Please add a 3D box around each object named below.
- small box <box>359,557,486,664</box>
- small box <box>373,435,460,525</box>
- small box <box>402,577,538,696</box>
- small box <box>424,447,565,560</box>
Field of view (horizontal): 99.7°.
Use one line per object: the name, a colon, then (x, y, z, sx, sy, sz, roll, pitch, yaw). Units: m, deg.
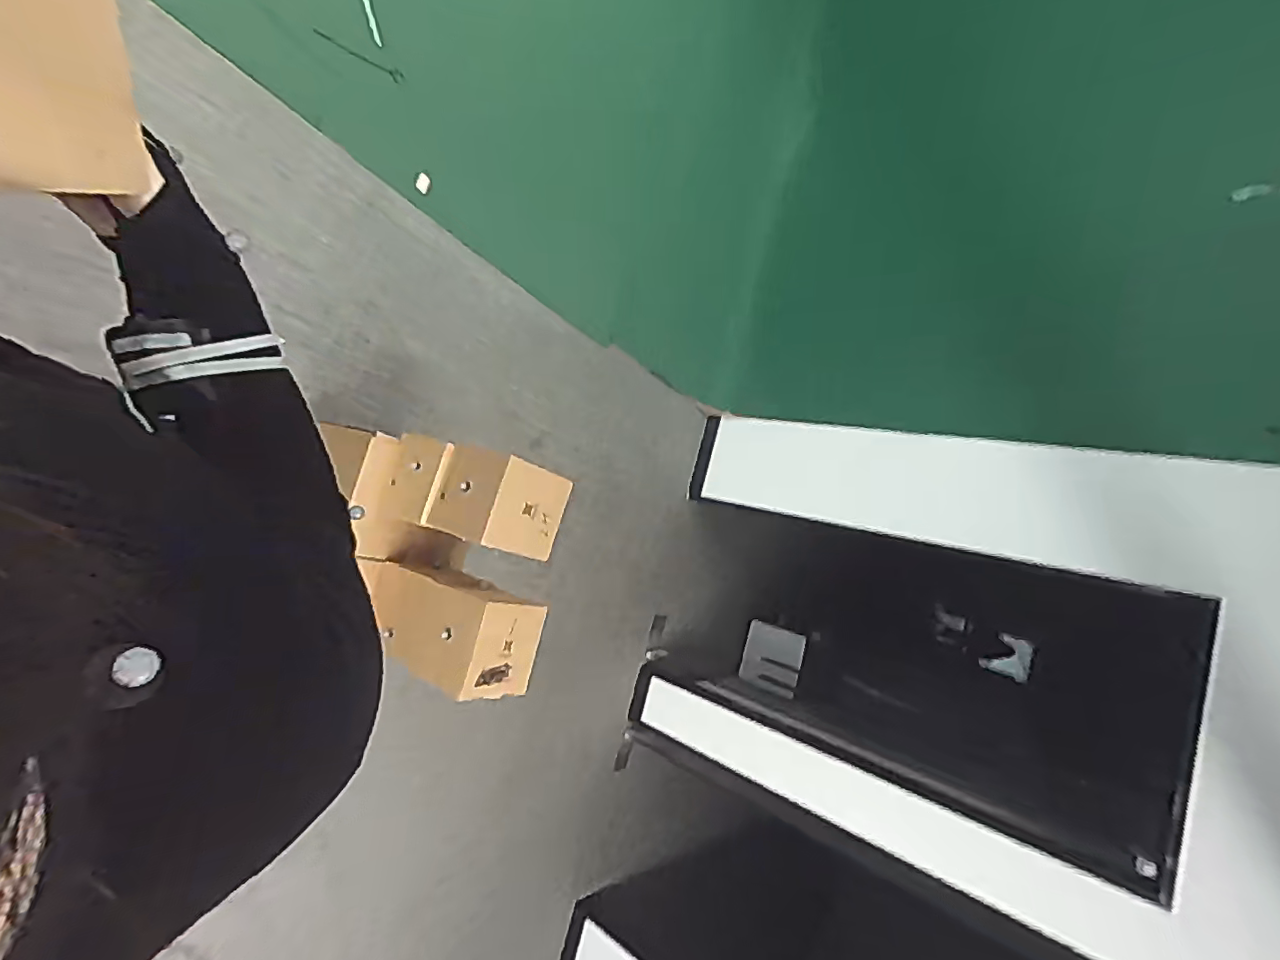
small box: (-0.467, 0.276, 1.154, 0.168, 0.176, 0.179, 24, 79, -55)
small box: (-0.423, 0.010, 1.137, 0.179, 0.176, 0.168, 27, 79, -54)
small box: (-0.335, 0.304, 1.060, 0.168, 0.176, 0.179, 26, 76, -55)
small box: (-0.284, 0.042, 1.053, 0.179, 0.176, 0.168, 30, 76, -53)
